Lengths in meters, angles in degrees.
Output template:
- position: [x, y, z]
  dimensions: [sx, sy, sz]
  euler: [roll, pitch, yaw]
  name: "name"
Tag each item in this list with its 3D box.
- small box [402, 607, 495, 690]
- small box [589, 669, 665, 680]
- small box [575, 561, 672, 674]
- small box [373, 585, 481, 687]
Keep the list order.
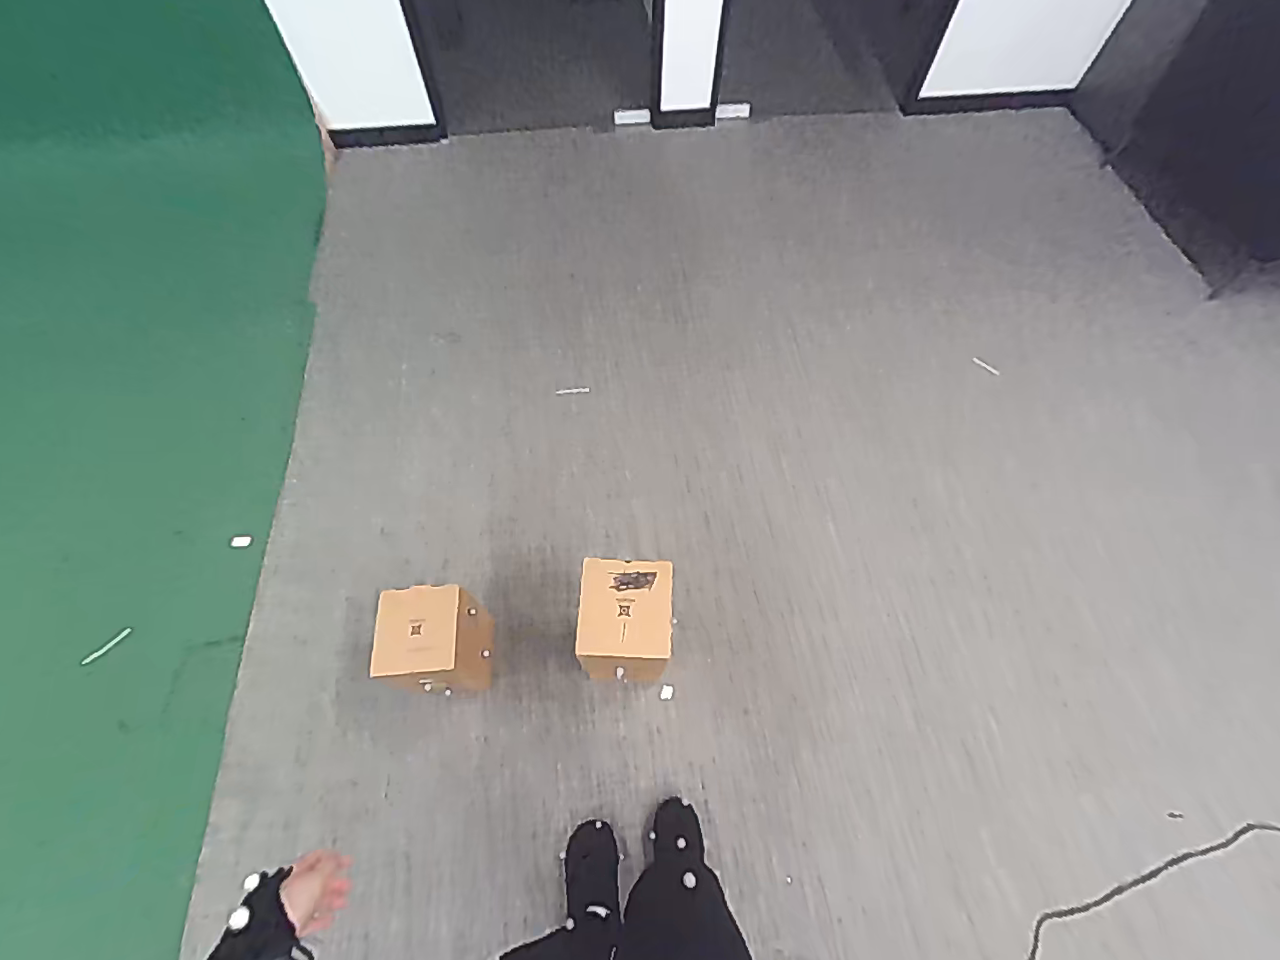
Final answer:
- position: [-0.456, 0.415, 1.316]
  dimensions: [0.168, 0.176, 0.179]
  euler: [-2, 64, -2]
  name: "small box"
- position: [-0.031, 0.333, 1.183]
  dimensions: [0.168, 0.176, 0.179]
  euler: [1, 64, 0]
  name: "small box"
- position: [-0.029, 0.267, 1.032]
  dimensions: [0.168, 0.176, 0.179]
  euler: [3, 65, 0]
  name: "small box"
- position: [-0.450, 0.342, 1.171]
  dimensions: [0.168, 0.176, 0.179]
  euler: [-5, 64, -2]
  name: "small box"
